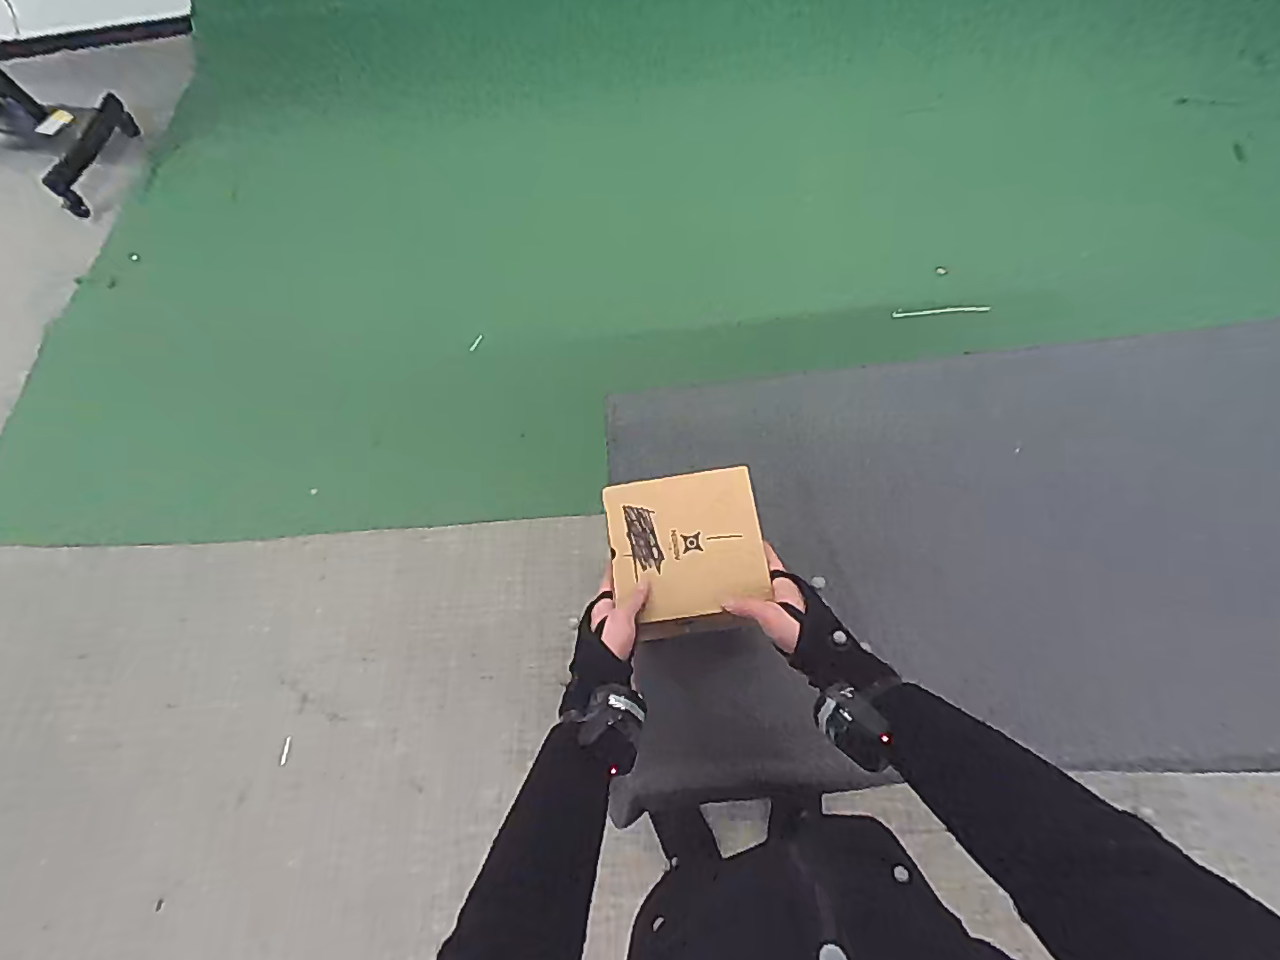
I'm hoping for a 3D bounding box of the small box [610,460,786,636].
[{"bbox_3d":[0.065,0.092,0.667,0.179,0.176,0.168,-7,66,0],"label":"small box"}]
